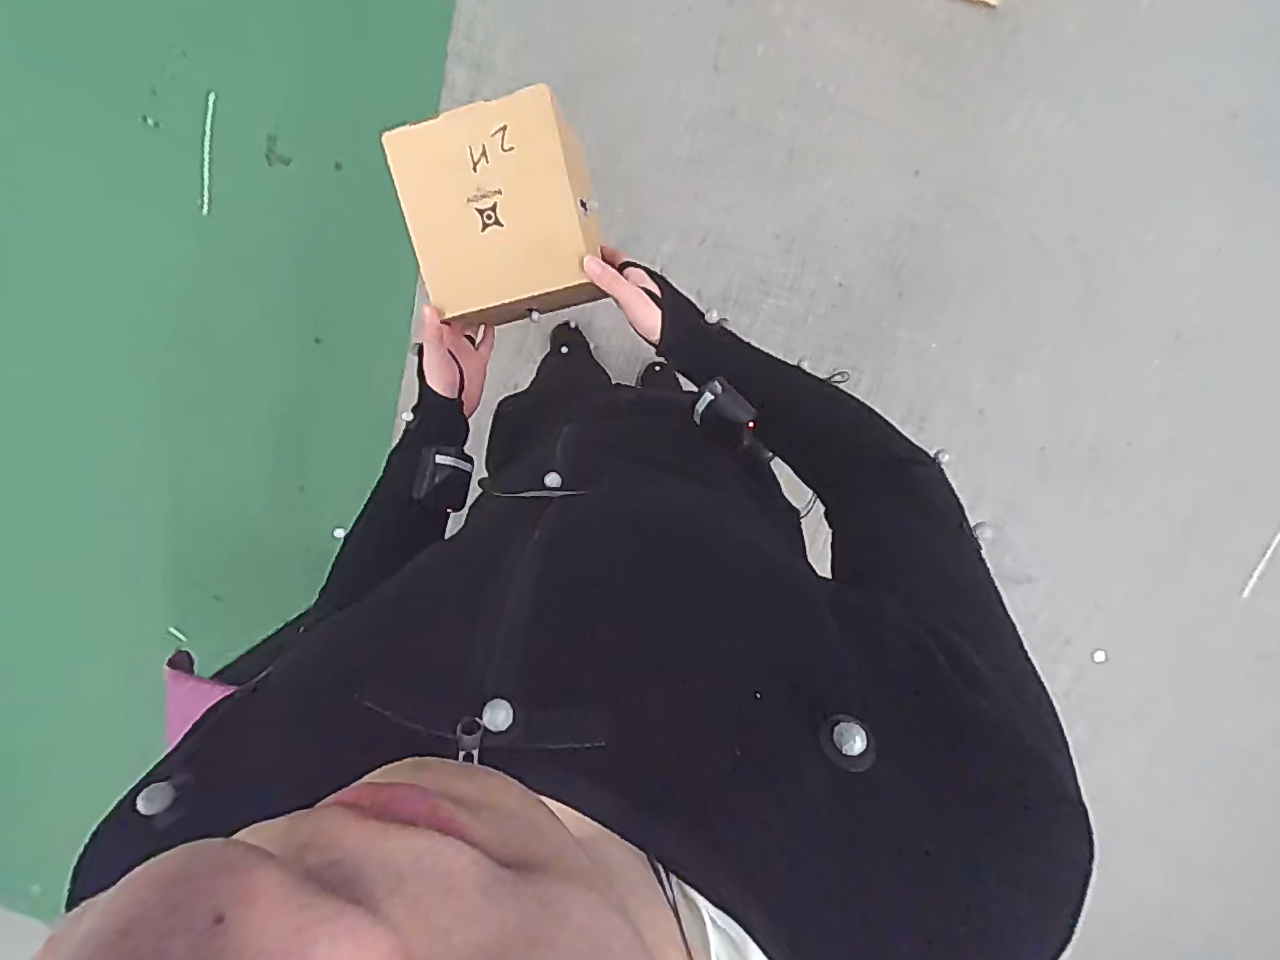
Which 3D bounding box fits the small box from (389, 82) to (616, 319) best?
[{"bbox_3d":[-0.129,-0.276,0.582,0.168,0.176,0.179,-10,102,8],"label":"small box"}]
